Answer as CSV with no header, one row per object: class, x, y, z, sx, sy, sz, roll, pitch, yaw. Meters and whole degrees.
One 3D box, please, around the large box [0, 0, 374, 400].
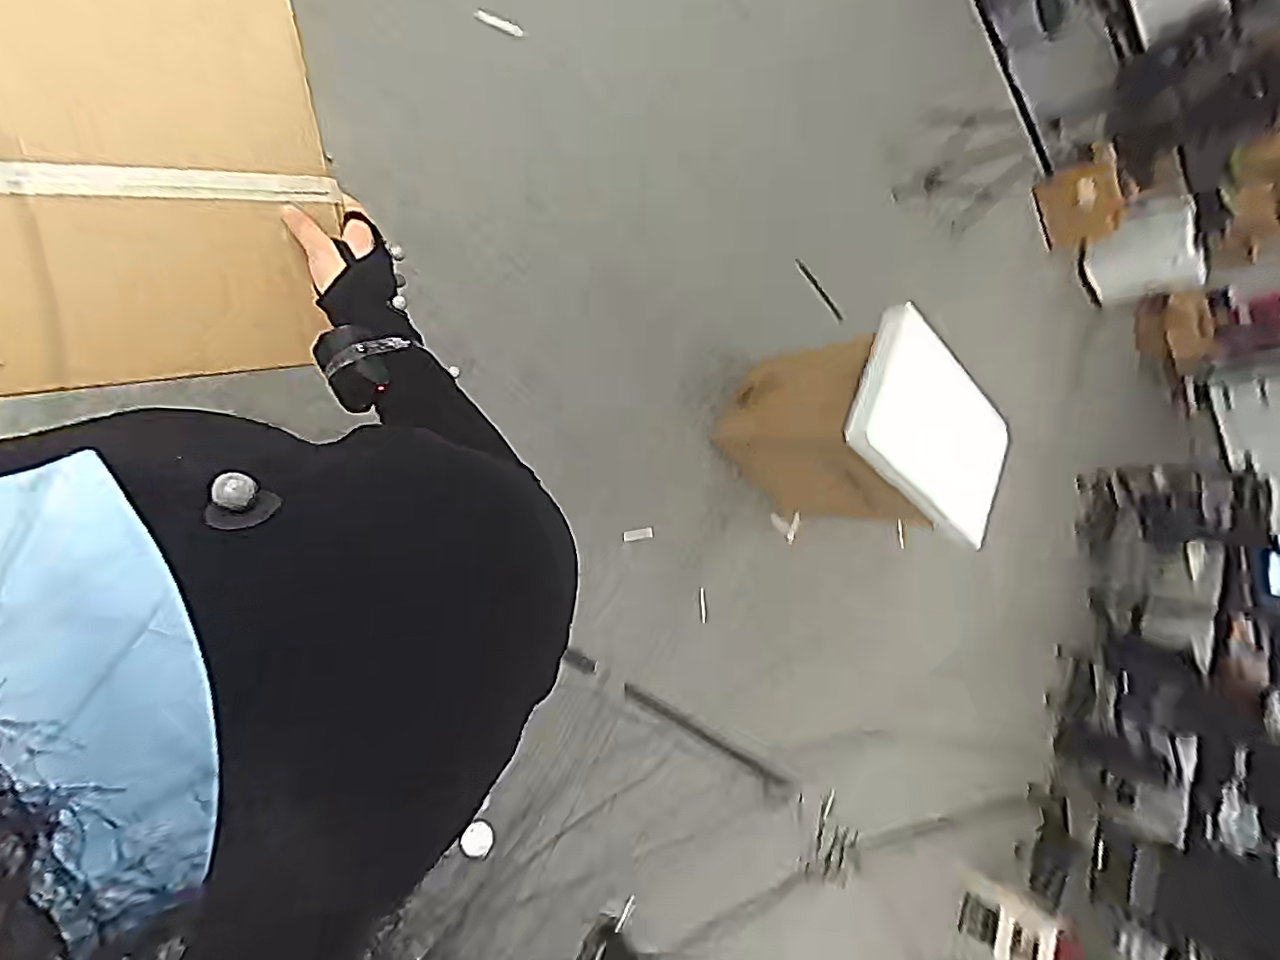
large box,-0.525,-0.271,0.530,0.408,0.320,0.320,-13,115,-30
